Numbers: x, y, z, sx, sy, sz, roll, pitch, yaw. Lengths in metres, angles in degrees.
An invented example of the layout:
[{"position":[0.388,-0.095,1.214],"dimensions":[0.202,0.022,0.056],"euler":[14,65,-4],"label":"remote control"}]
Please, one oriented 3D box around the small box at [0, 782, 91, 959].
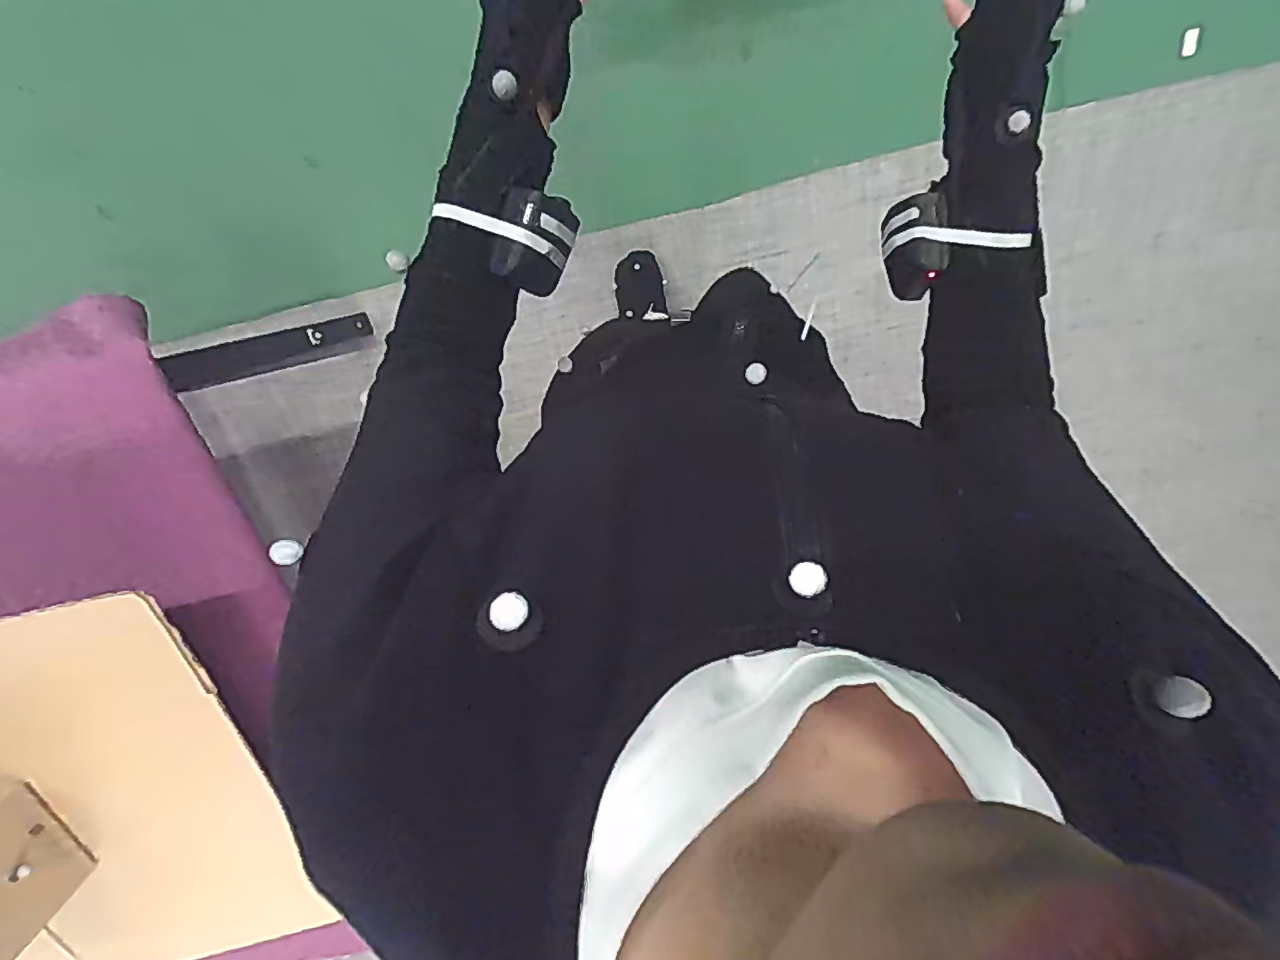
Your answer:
[{"position":[-0.829,0.488,0.630],"dimensions":[0.179,0.176,0.168],"euler":[-10,112,4],"label":"small box"}]
